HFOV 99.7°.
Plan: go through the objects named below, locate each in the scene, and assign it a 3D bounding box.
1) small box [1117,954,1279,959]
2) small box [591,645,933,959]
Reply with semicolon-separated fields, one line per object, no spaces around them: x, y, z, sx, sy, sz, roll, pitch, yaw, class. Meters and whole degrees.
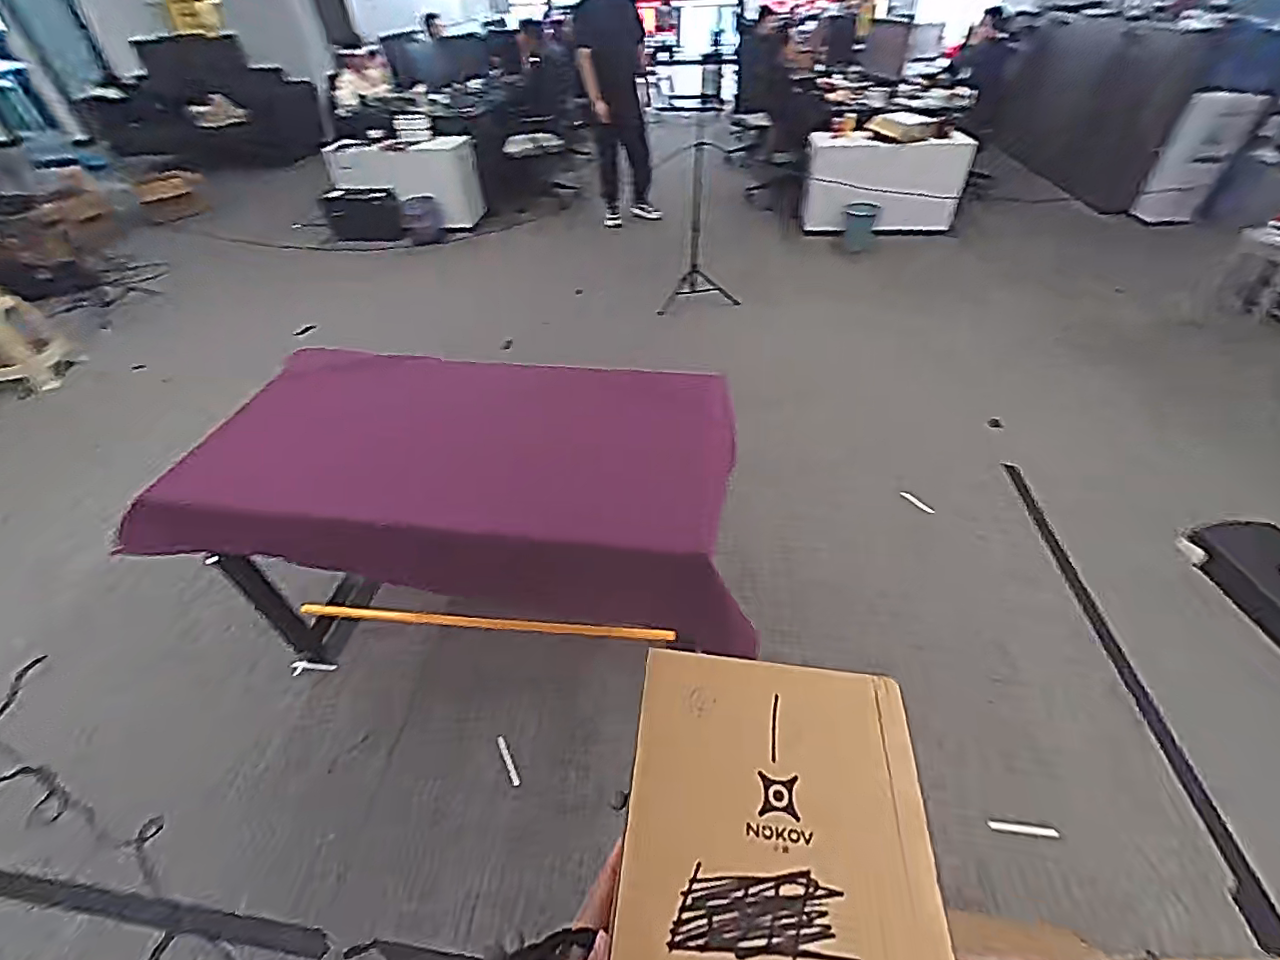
0.563;0.547;0.491;0.179;0.176;0.168;-3;47;4;small box
0.067;0.236;0.362;0.168;0.176;0.179;6;48;4;small box
